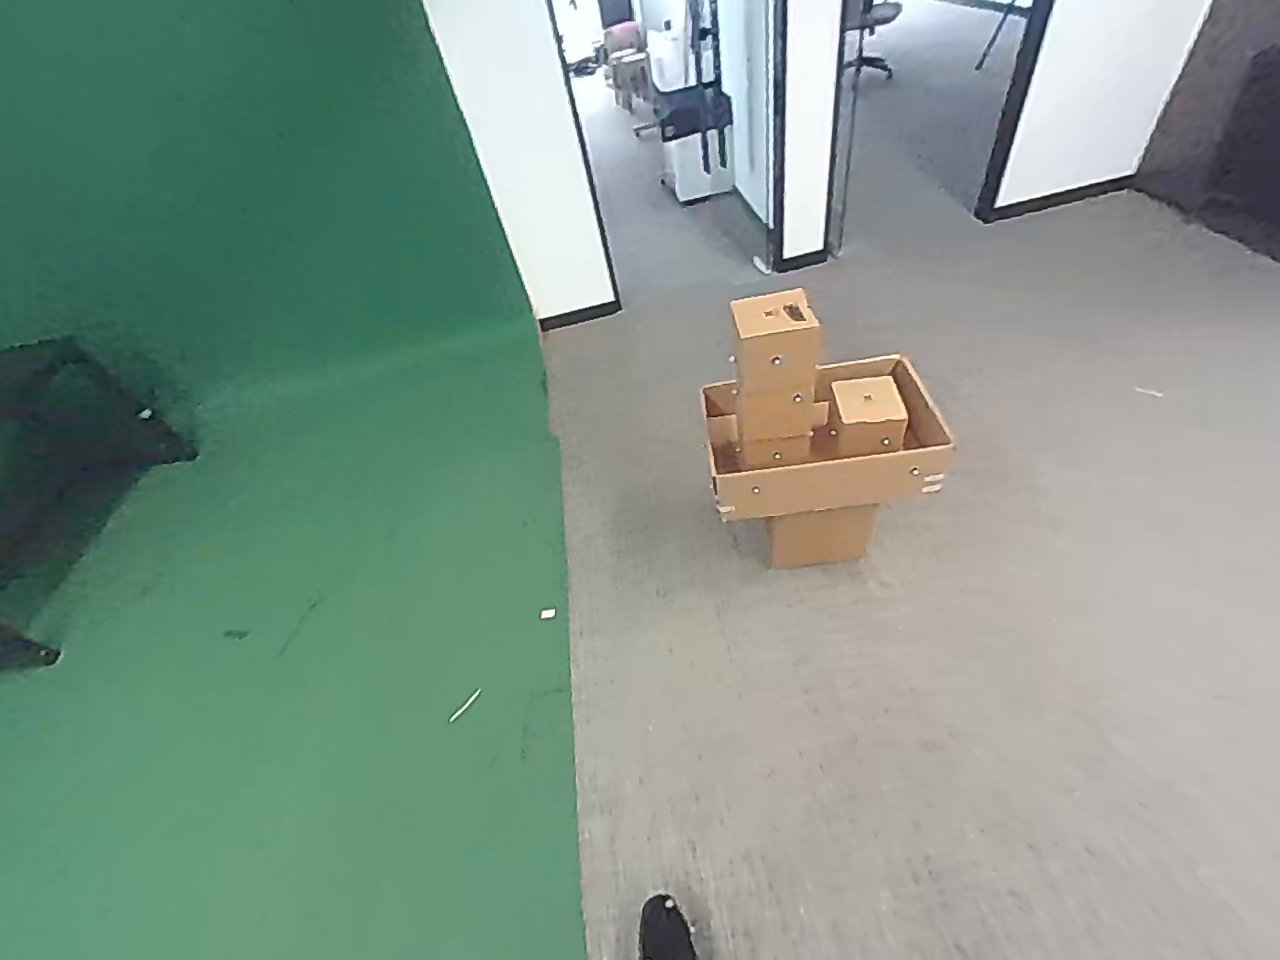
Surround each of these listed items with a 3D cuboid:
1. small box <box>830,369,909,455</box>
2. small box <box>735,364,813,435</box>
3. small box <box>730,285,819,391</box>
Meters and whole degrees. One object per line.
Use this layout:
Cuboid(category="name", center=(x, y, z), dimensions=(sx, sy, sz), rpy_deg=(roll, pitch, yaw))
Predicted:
Cuboid(category="small box", center=(0.638, -0.184, 1.521), dimensions=(0.168, 0.176, 0.179), rpy_deg=(-5, 49, 10))
Cuboid(category="small box", center=(0.350, -0.236, 1.424), dimensions=(0.179, 0.176, 0.168), rpy_deg=(-7, 49, 7))
Cuboid(category="small box", center=(0.318, -0.338, 1.300), dimensions=(0.179, 0.176, 0.168), rpy_deg=(-9, 48, 7))
